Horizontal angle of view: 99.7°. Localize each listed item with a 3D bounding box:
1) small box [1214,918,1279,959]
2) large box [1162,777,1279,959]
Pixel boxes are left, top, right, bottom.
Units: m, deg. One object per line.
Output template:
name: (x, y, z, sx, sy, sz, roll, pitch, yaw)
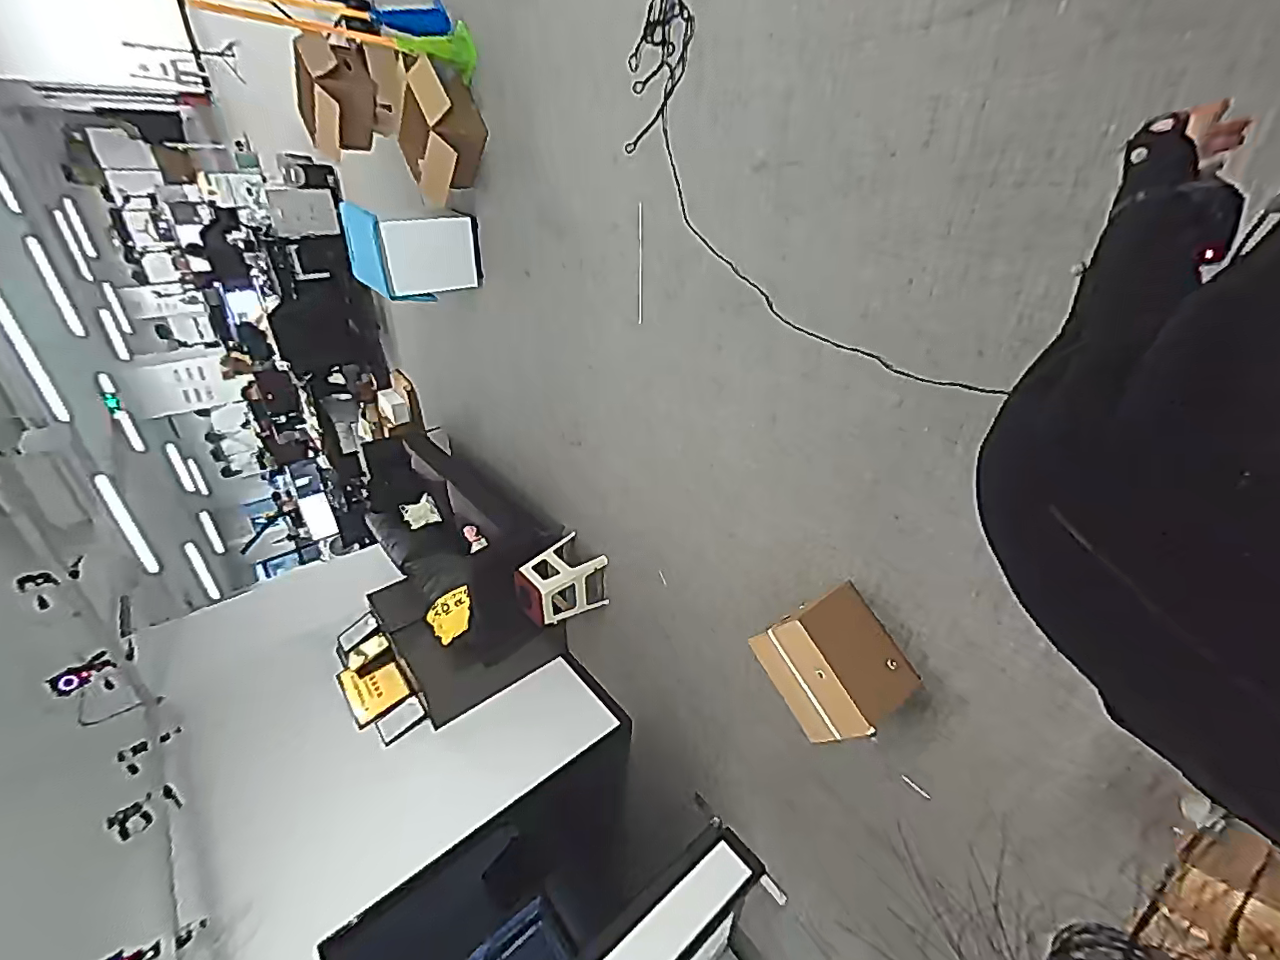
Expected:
small box: (1.159, 0.966, 0.981, 0.168, 0.176, 0.179, 18, 121, 49)
large box: (1.377, 0.910, 1.090, 0.408, 0.320, 0.320, 16, 122, 49)
